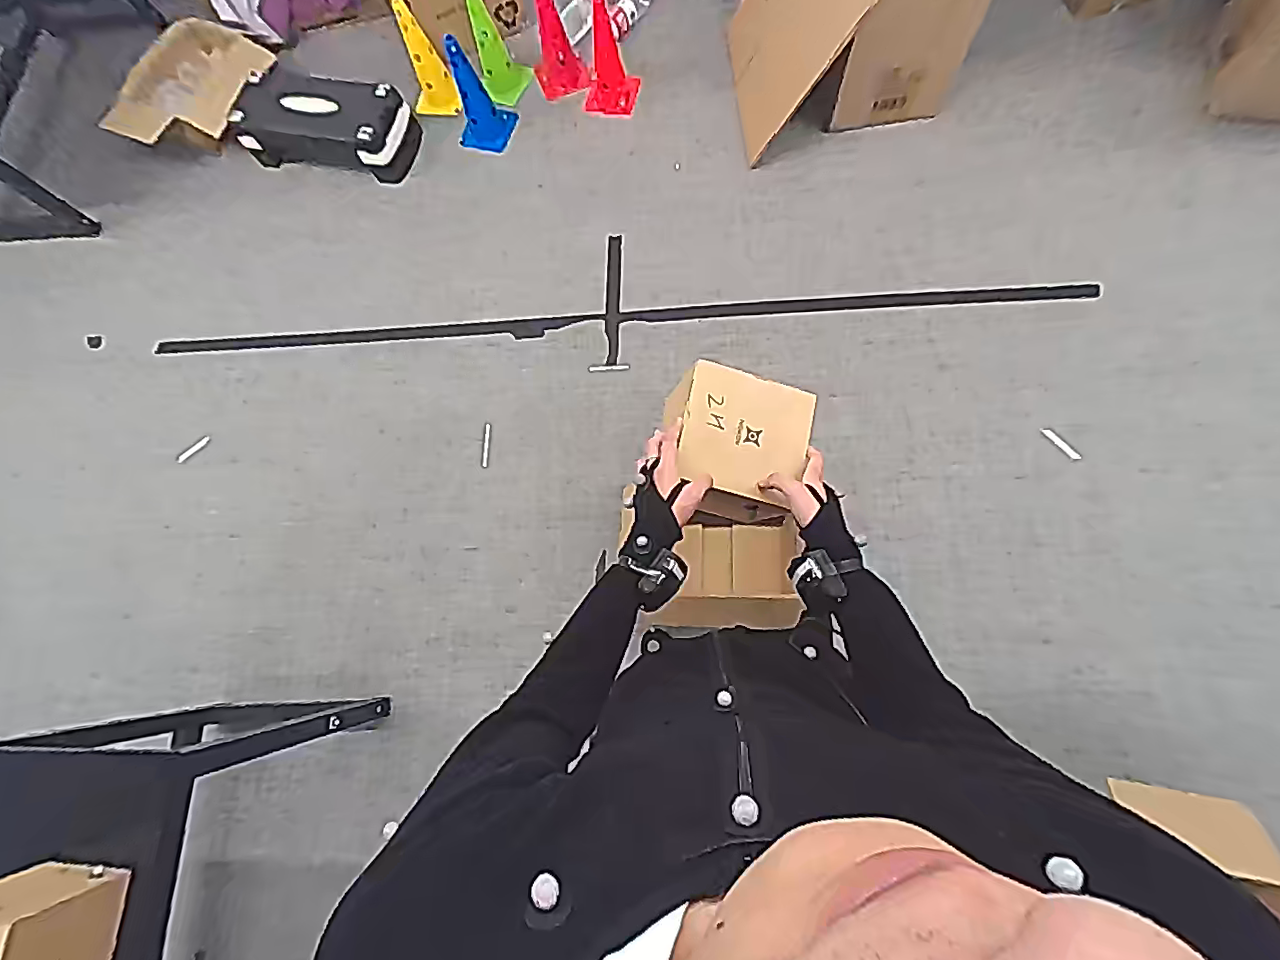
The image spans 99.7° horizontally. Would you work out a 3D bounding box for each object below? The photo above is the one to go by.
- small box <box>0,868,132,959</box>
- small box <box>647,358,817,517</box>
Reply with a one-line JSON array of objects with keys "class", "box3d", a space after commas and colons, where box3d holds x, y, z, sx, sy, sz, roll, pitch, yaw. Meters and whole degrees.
[{"class": "small box", "box3d": [-0.926, 0.717, 0.810, 0.168, 0.176, 0.179, 0, 77, 7]}, {"class": "small box", "box3d": [0.123, -0.047, 0.774, 0.179, 0.176, 0.168, 15, 78, -7]}]
